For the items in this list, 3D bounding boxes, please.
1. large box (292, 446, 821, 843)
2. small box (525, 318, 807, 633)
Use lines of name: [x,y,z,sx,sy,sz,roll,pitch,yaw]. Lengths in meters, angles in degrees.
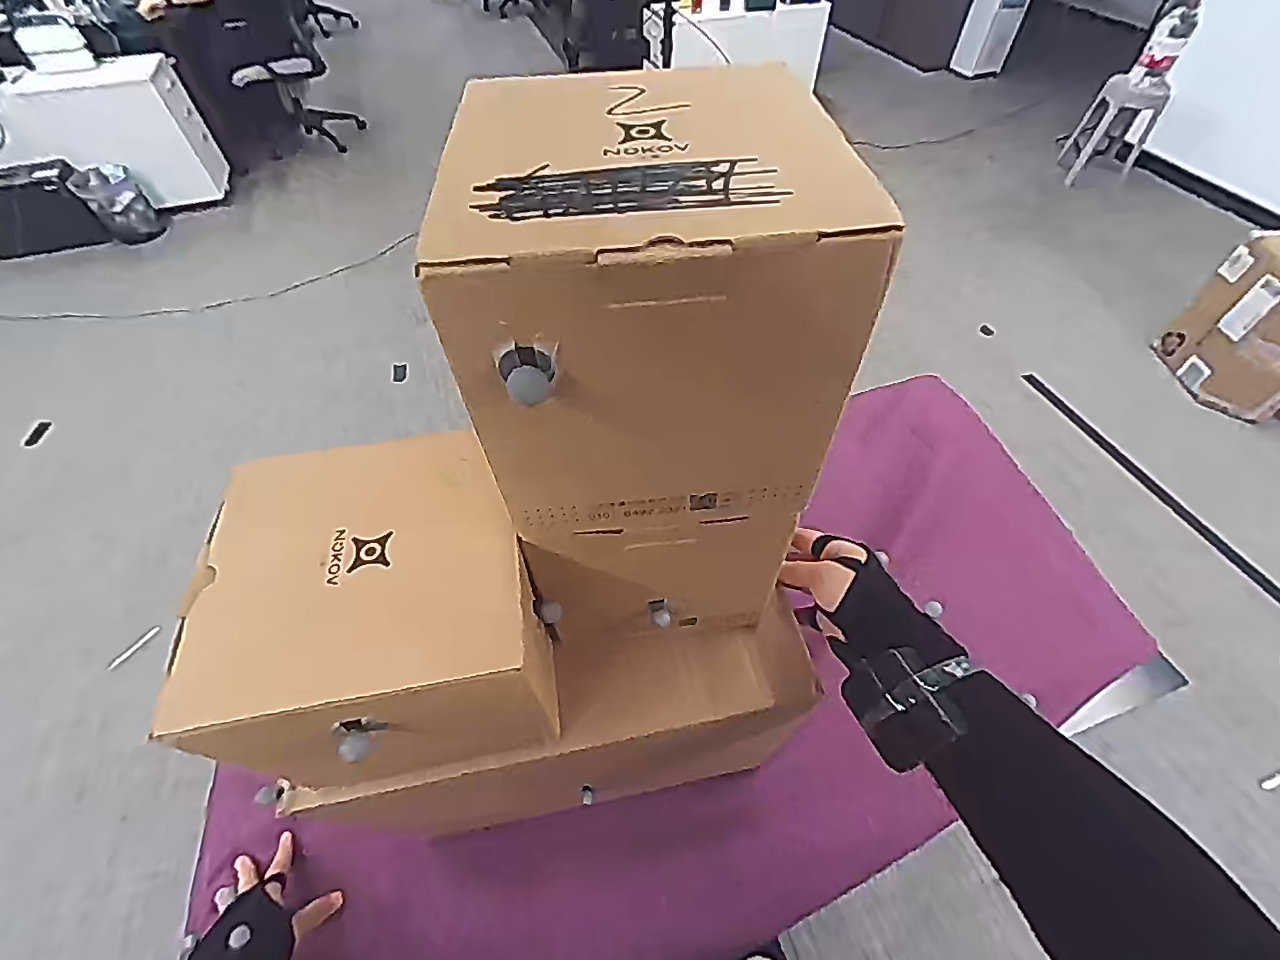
large box: [-0.077,0.170,0.603,0.408,0.320,0.320,-11,52,-6]
small box: [0.011,0.000,0.422,0.168,0.176,0.179,-5,53,-1]
